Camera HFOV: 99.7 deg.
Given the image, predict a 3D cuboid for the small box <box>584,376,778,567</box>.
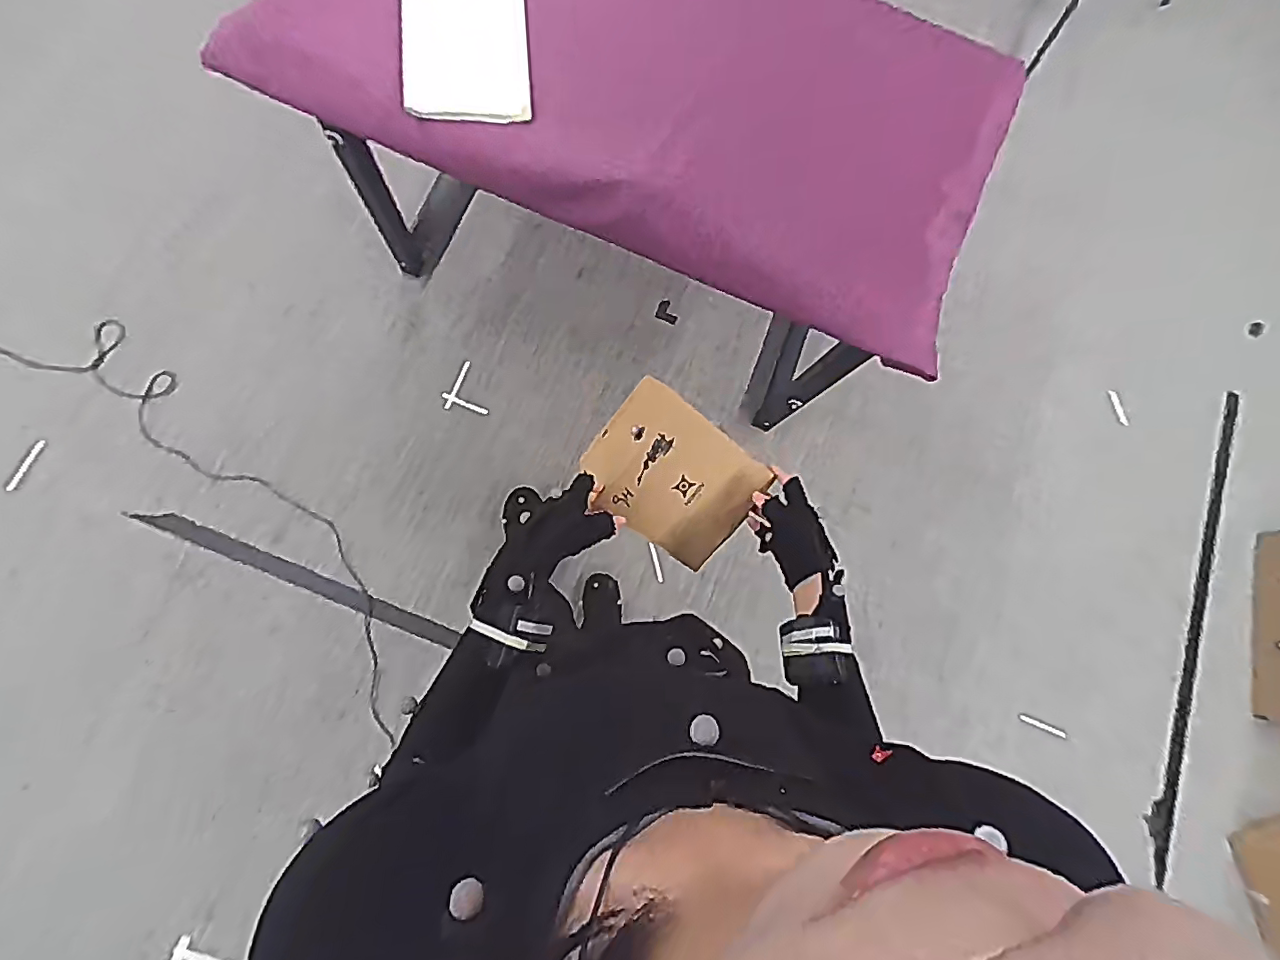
[{"bbox_3d":[0.044,-0.022,0.728,0.179,0.176,0.168,36,98,-21],"label":"small box"}]
